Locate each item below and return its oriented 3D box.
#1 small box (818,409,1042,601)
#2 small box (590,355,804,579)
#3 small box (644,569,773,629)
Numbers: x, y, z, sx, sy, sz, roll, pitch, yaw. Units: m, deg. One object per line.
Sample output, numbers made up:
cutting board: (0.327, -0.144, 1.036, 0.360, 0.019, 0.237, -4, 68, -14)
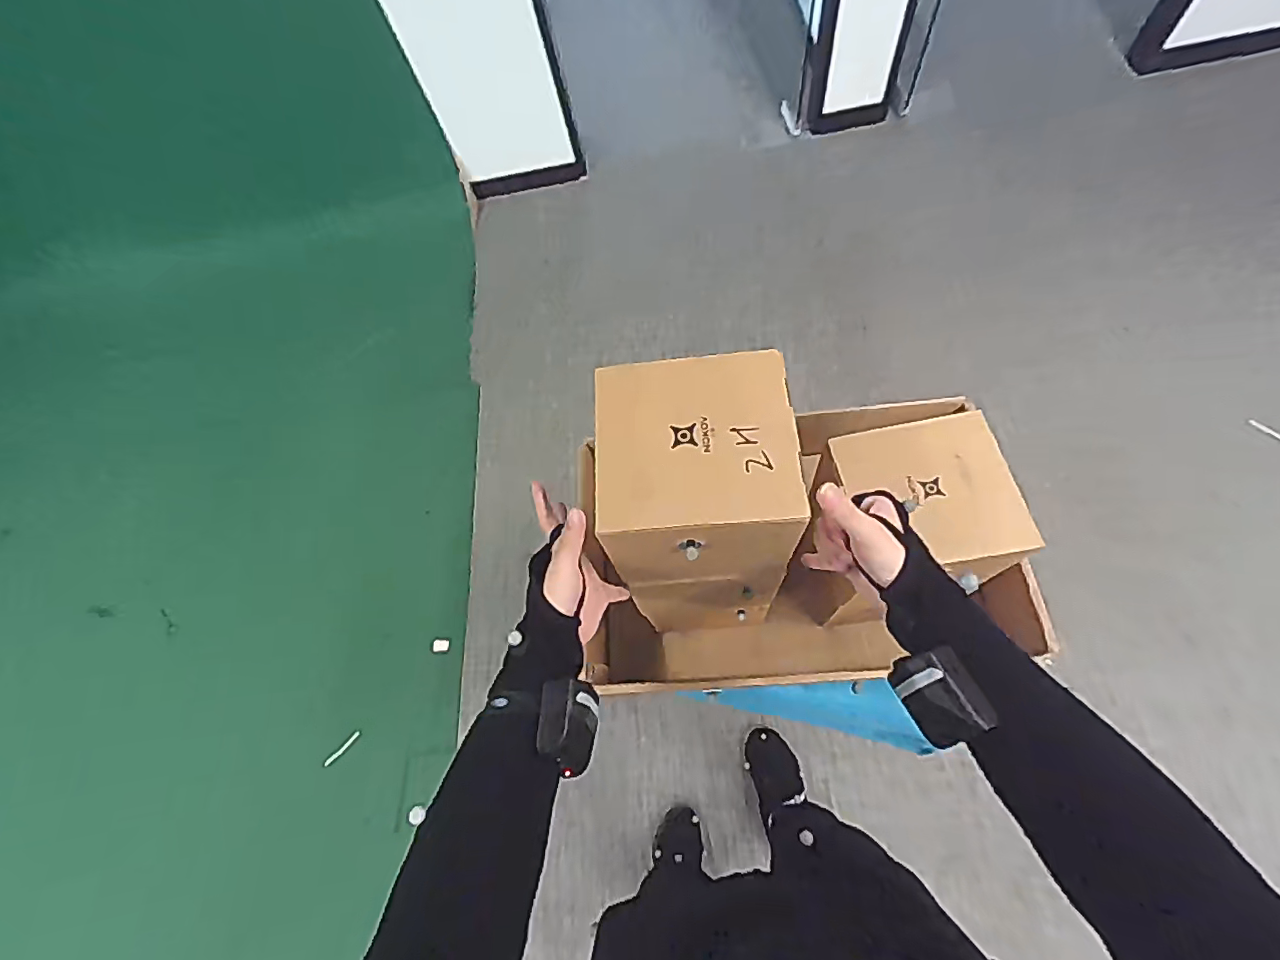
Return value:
small box: (0.323, 0.040, 0.652, 0.179, 0.176, 0.168, -11, 65, 6)
small box: (0.053, -0.002, 0.541, 0.179, 0.176, 0.168, -4, 66, 5)
small box: (0.101, 0.130, 0.837, 0.179, 0.176, 0.168, -6, 66, 5)
